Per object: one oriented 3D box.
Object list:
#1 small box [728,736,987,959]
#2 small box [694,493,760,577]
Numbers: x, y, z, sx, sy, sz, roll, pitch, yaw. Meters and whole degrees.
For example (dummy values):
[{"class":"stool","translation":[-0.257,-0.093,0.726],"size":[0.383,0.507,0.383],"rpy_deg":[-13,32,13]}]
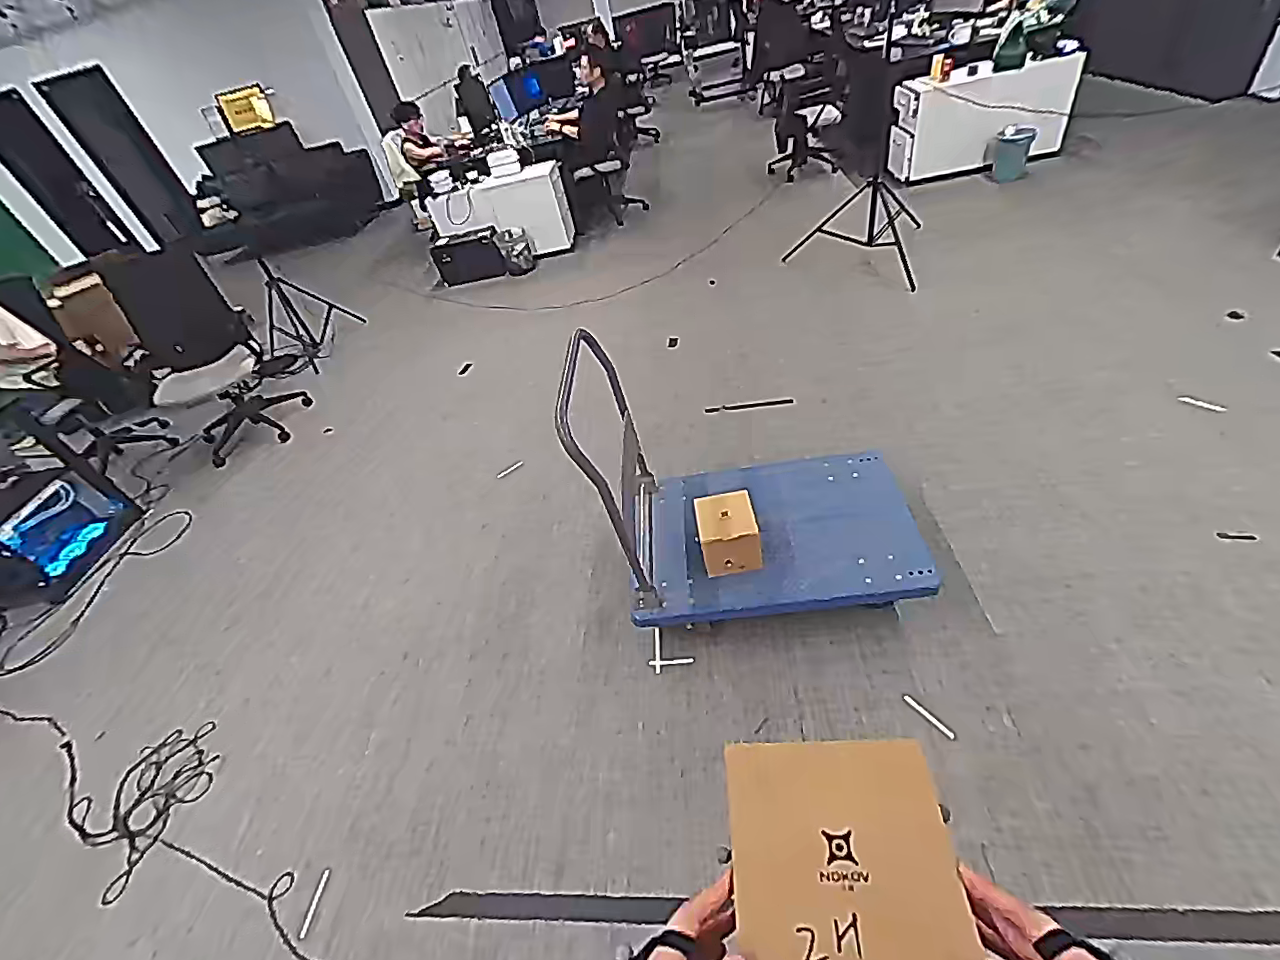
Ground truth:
[{"class":"small box","translation":[0.166,0.342,0.463],"size":[0.168,0.176,0.179],"rpy_deg":[-6,44,10]},{"class":"small box","translation":[0.260,0.166,1.624],"size":[0.168,0.176,0.179],"rpy_deg":[-11,42,5]}]
